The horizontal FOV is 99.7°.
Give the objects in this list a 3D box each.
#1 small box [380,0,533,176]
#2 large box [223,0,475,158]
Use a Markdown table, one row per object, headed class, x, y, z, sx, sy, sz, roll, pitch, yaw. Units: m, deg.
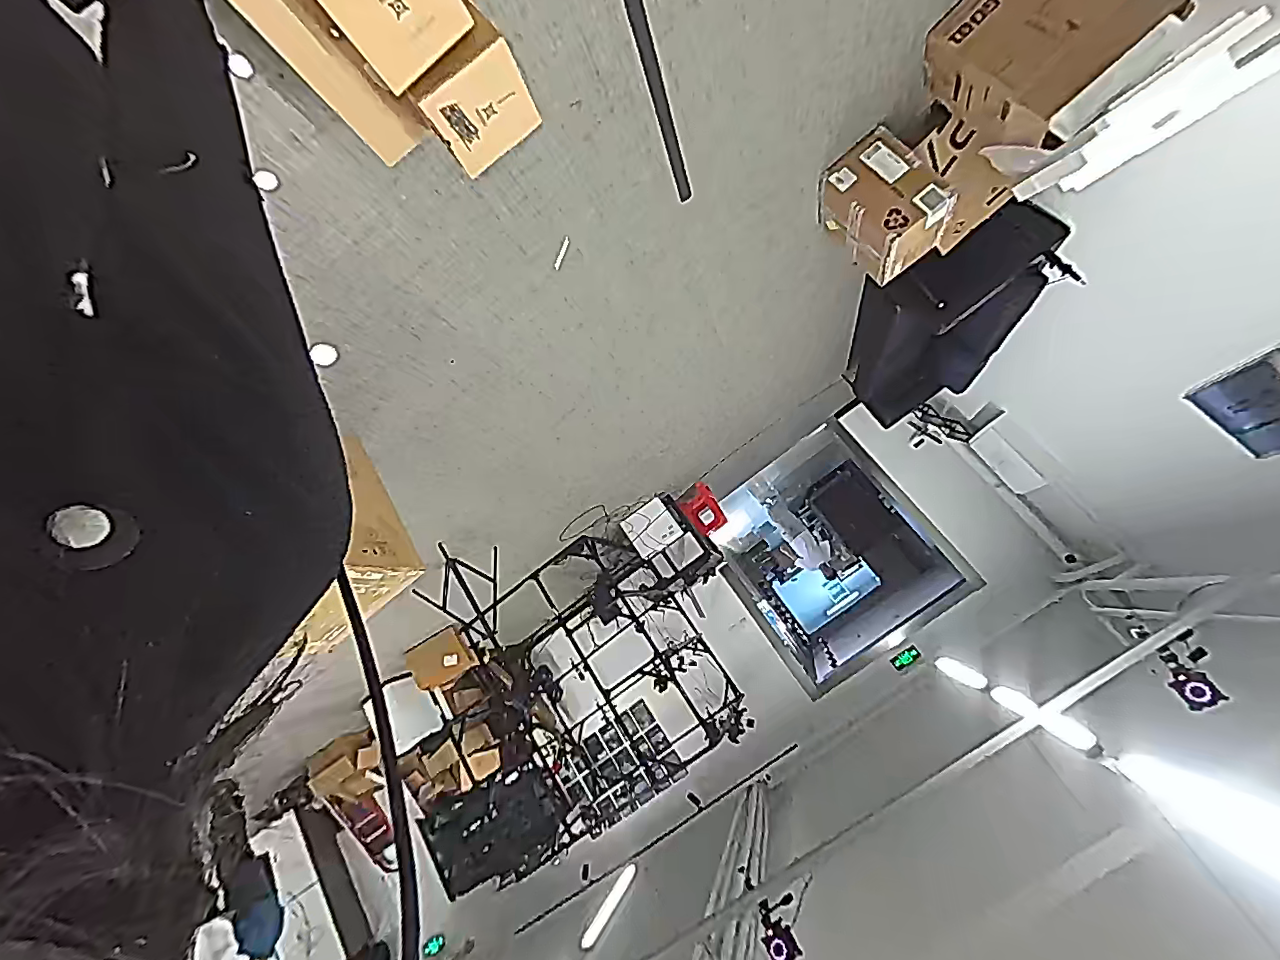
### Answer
| class | x | y | z | sx | sy | sz | roll | pitch | yaw |
| --- | --- | --- | --- | --- | --- | --- | --- | --- | --- |
| small box | -0.329 | -0.699 | 0.960 | 0.179 | 0.176 | 0.168 | -38 | 162 | 1 |
| large box | -0.533 | -0.882 | 0.922 | 0.320 | 0.320 | 0.408 | -37 | 163 | 6 |
